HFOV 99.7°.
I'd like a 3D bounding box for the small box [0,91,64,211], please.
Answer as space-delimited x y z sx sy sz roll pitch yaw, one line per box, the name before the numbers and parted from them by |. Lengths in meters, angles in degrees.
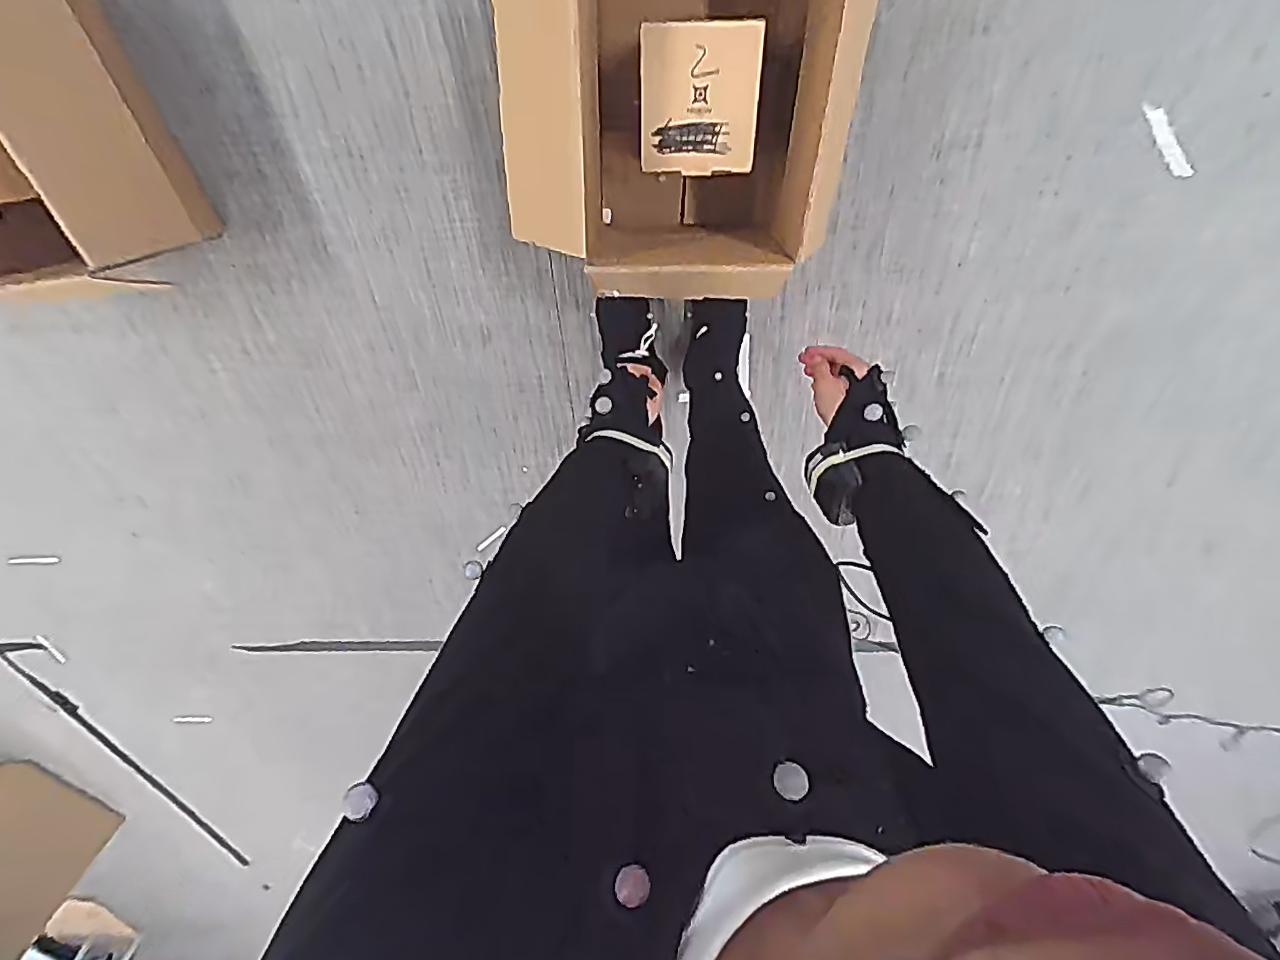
small box | -0.988 -0.462 0.742 0.168 0.176 0.179 -4 125 5
